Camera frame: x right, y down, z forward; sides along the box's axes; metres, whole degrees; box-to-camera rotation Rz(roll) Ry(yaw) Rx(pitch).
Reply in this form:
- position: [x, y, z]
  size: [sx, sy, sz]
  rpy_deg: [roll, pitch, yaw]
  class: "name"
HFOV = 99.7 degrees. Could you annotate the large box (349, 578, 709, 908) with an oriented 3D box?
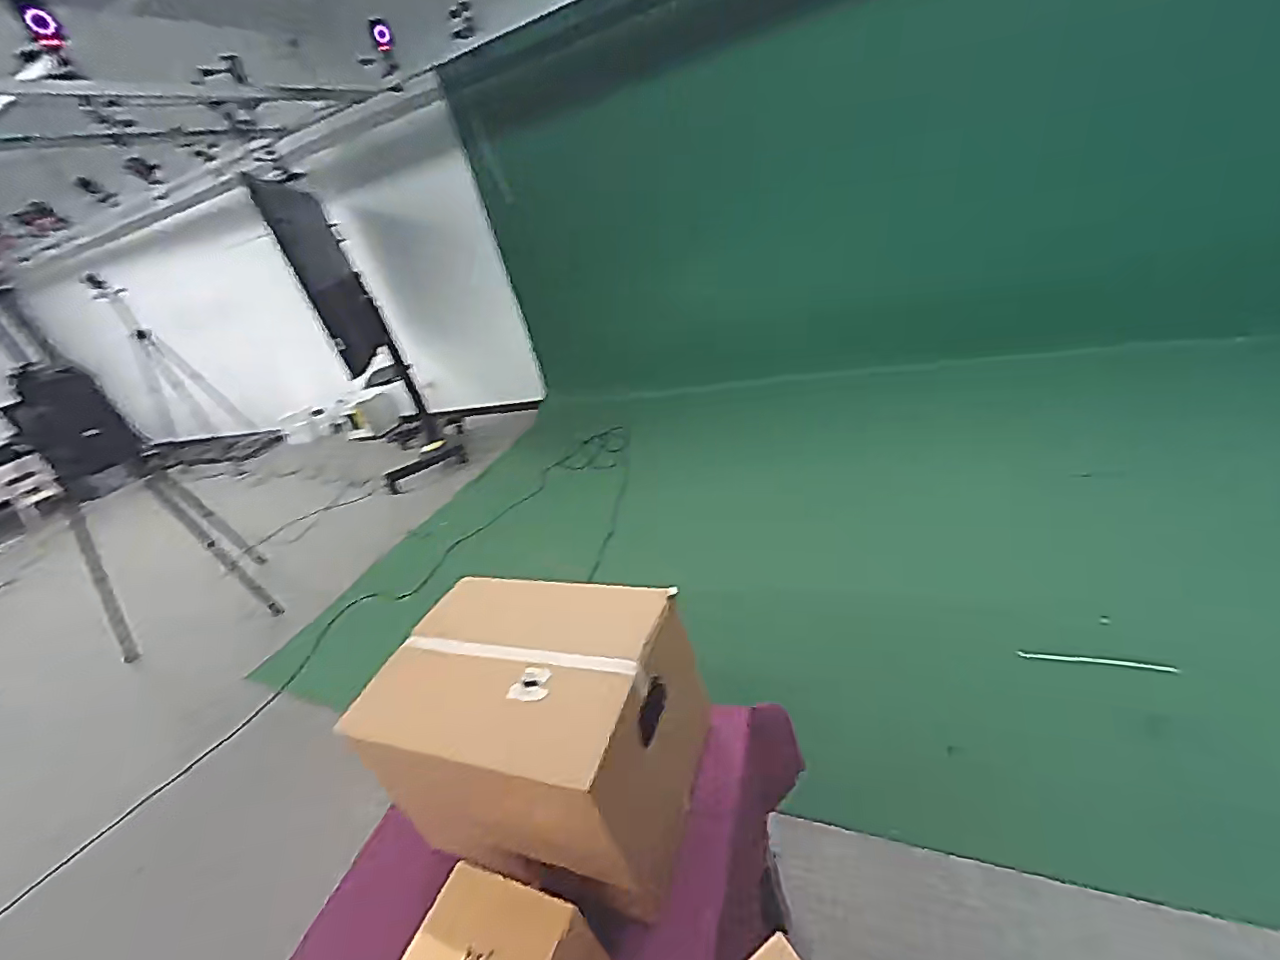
- position: [-0.139, 0.378, 0.850]
  size: [0.408, 0.320, 0.320]
  rpy_deg: [-1, 32, 24]
  class: "large box"
